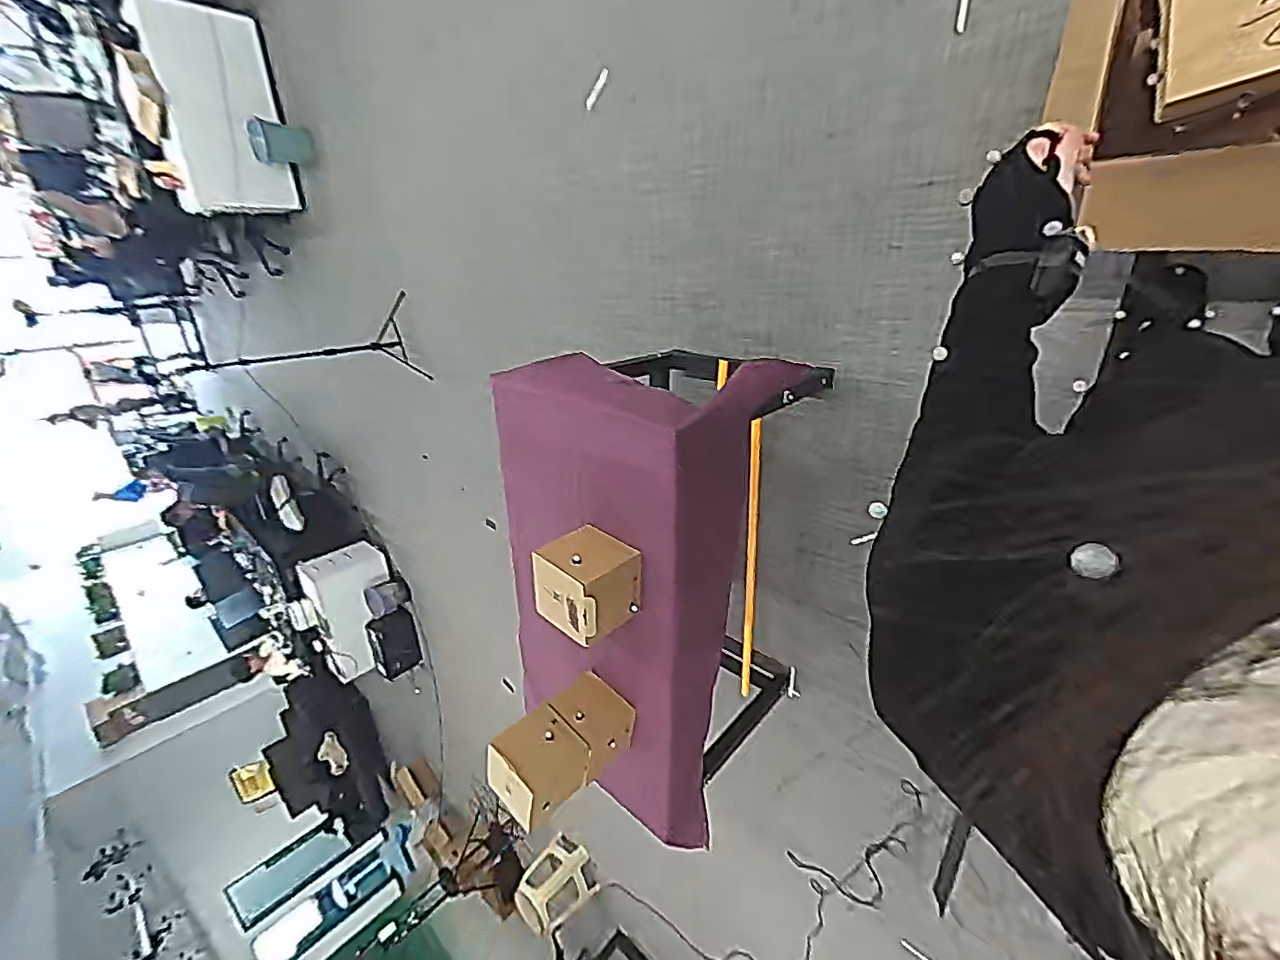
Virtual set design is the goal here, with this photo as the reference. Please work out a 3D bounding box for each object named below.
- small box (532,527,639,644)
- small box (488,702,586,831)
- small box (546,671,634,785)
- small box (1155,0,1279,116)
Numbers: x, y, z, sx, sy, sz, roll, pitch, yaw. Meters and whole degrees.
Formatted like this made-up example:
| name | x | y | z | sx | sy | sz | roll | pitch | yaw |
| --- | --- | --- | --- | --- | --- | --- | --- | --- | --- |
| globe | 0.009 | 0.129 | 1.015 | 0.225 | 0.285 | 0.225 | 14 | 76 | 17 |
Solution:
| name | x | y | z | sx | sy | sz | roll | pitch | yaw |
| --- | --- | --- | --- | --- | --- | --- | --- | --- | --- |
| small box | -0.118 | 0.224 | 1.207 | 0.179 | 0.176 | 0.168 | 23 | 123 | 38 |
| small box | -0.248 | 0.683 | 1.303 | 0.168 | 0.176 | 0.179 | 31 | 126 | 31 |
| small box | -0.136 | 0.639 | 1.415 | 0.179 | 0.176 | 0.168 | 31 | 126 | 32 |
| small box | 0.810 | -0.618 | 0.714 | 0.179 | 0.176 | 0.168 | -10 | 103 | 43 |
